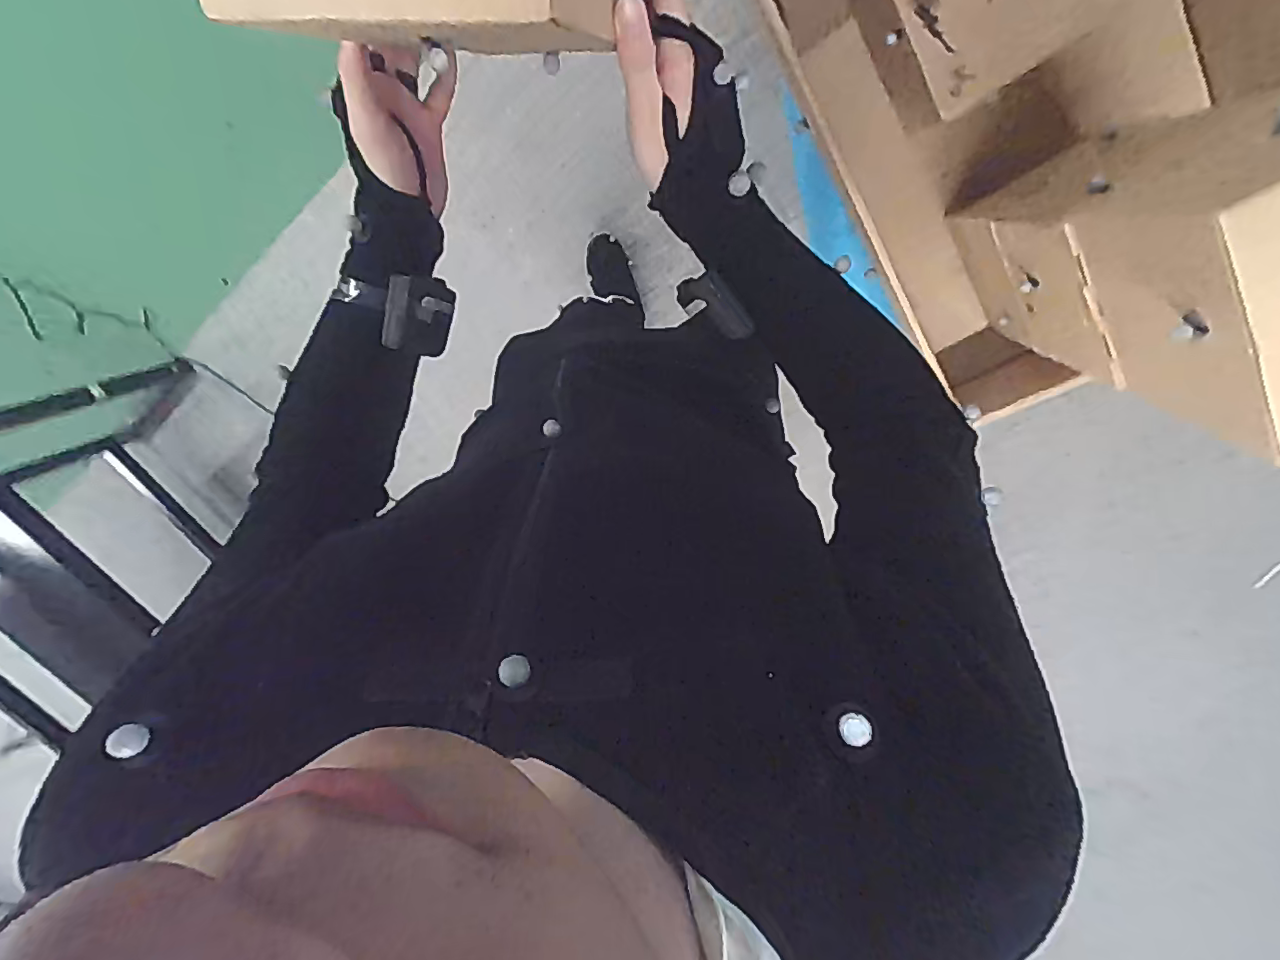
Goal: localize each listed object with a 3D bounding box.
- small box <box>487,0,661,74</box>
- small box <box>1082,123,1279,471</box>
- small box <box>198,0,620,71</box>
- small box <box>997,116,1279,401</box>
[{"bbox_3d":[-0.078,-0.416,0.395,0.168,0.176,0.179,4,125,10],"label":"small box"},{"bbox_3d":[0.441,-0.136,0.356,0.168,0.176,0.179,-26,107,24],"label":"small box"},{"bbox_3d":[-0.107,-0.314,0.269,0.179,0.176,0.168,7,125,9],"label":"small box"},{"bbox_3d":[0.477,-0.204,0.502,0.179,0.176,0.168,-26,107,23],"label":"small box"}]
